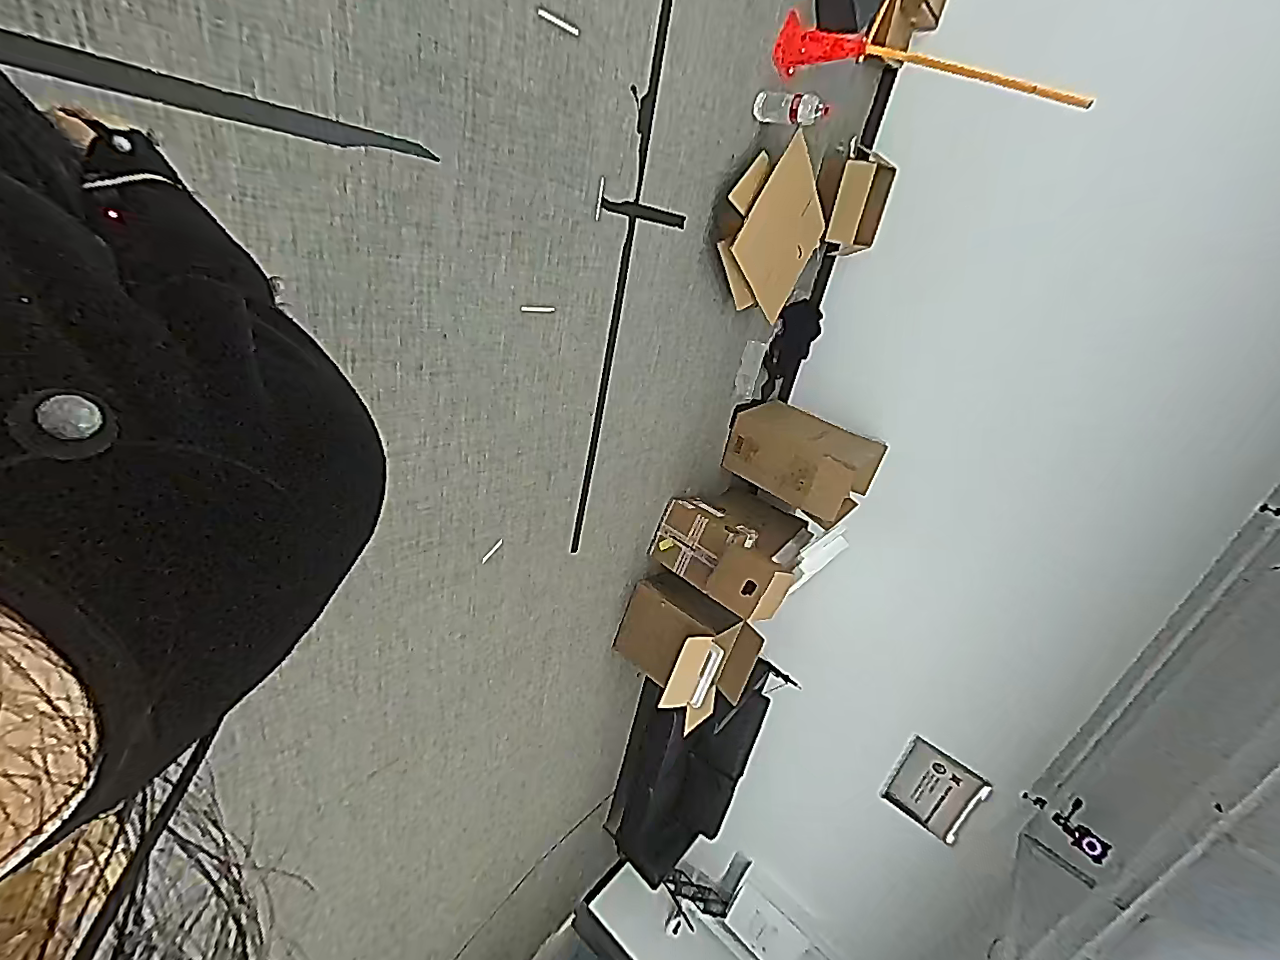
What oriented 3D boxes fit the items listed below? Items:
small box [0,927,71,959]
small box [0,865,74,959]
[{"bbox_3d":[-1.153,0.982,0.984,0.168,0.176,0.179,-20,129,-48],"label":"small box"},{"bbox_3d":[-1.279,0.923,1.068,0.179,0.176,0.168,-20,129,-47],"label":"small box"}]
